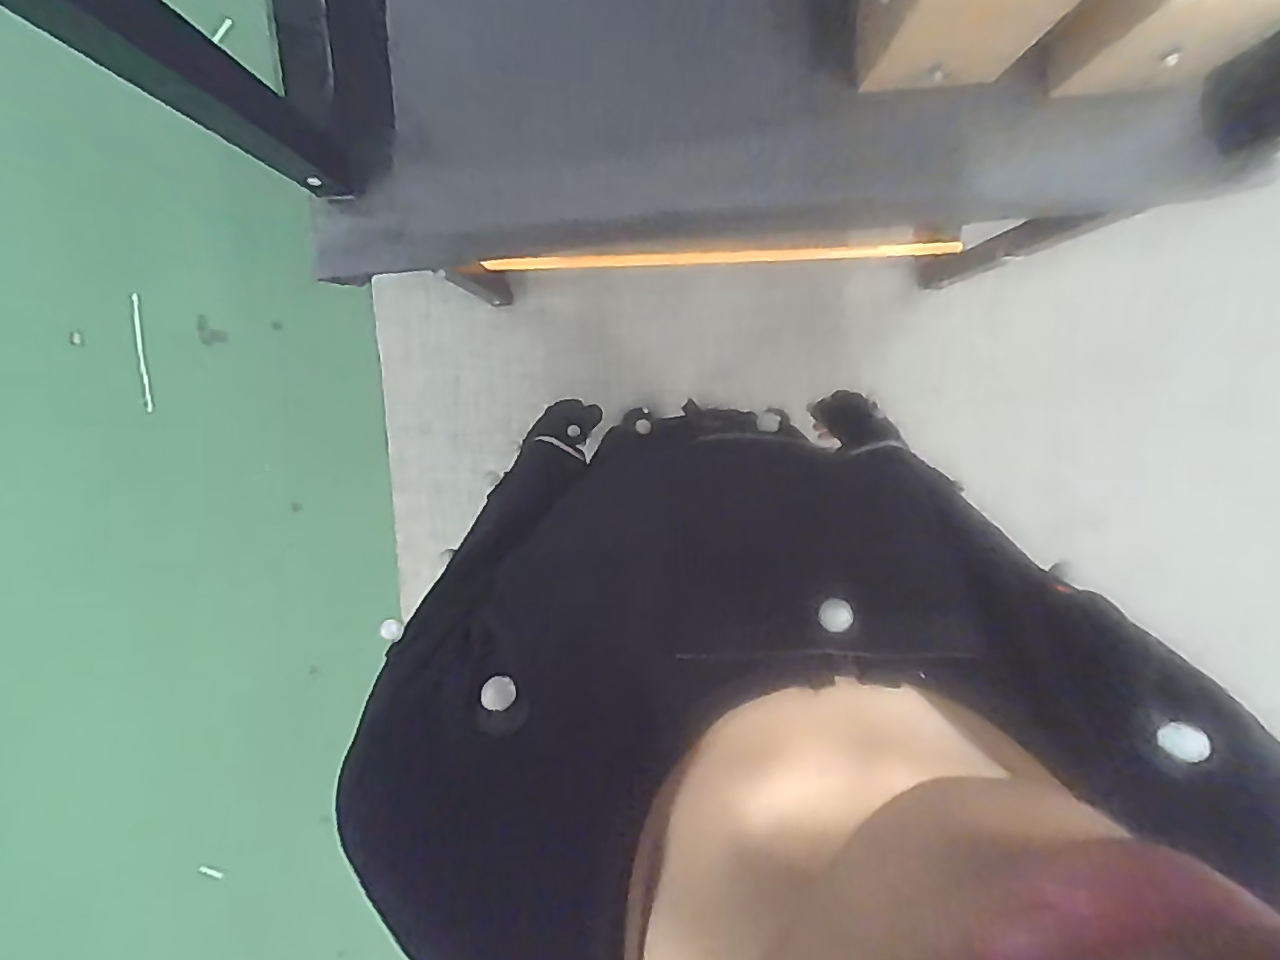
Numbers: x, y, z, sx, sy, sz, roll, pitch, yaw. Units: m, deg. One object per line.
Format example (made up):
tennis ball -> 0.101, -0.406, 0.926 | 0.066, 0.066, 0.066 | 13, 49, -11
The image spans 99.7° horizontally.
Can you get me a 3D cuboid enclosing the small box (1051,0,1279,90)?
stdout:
small box -> 0.577, -0.547, 0.572 | 0.168, 0.176, 0.179 | -3, 97, 2
